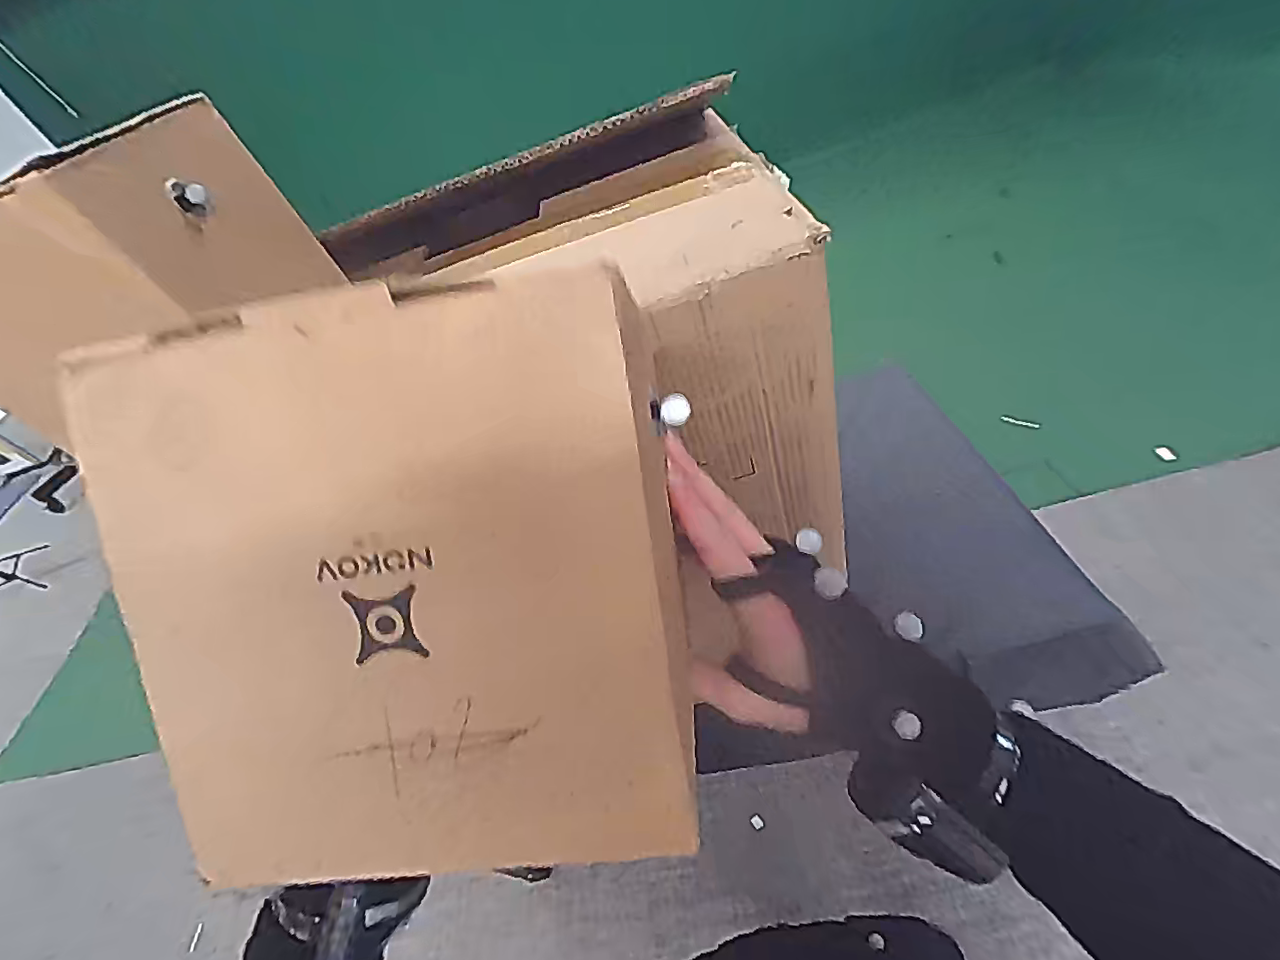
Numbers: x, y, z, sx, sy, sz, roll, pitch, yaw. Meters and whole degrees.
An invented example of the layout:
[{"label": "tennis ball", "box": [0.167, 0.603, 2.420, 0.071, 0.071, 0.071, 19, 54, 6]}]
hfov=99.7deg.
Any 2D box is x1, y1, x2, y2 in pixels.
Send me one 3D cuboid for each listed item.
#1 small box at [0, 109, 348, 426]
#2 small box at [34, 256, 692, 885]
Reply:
[{"label": "small box", "box": [-0.349, -0.130, 0.398, 0.168, 0.176, 0.179, -17, 44, 10]}, {"label": "small box", "box": [-0.071, 0.025, 0.236, 0.168, 0.179, 0.176, -9, 9, 7]}]
